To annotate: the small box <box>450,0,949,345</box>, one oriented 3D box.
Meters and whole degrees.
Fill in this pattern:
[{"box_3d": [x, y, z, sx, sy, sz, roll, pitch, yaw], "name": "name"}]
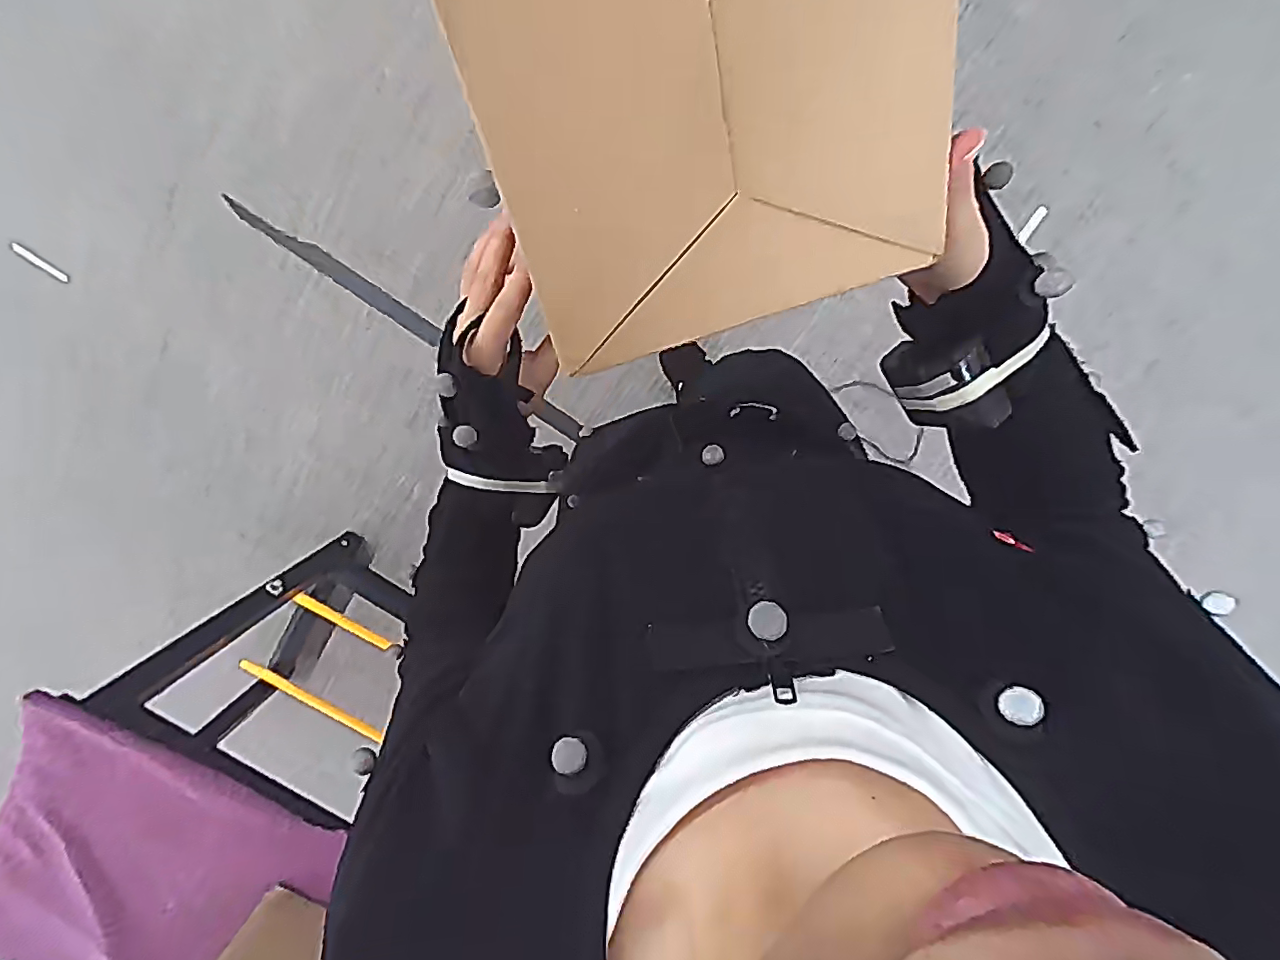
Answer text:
[{"box_3d": [0.022, -0.183, 0.257, 0.179, 0.176, 0.168, -18, 124, -1], "name": "small box"}]
